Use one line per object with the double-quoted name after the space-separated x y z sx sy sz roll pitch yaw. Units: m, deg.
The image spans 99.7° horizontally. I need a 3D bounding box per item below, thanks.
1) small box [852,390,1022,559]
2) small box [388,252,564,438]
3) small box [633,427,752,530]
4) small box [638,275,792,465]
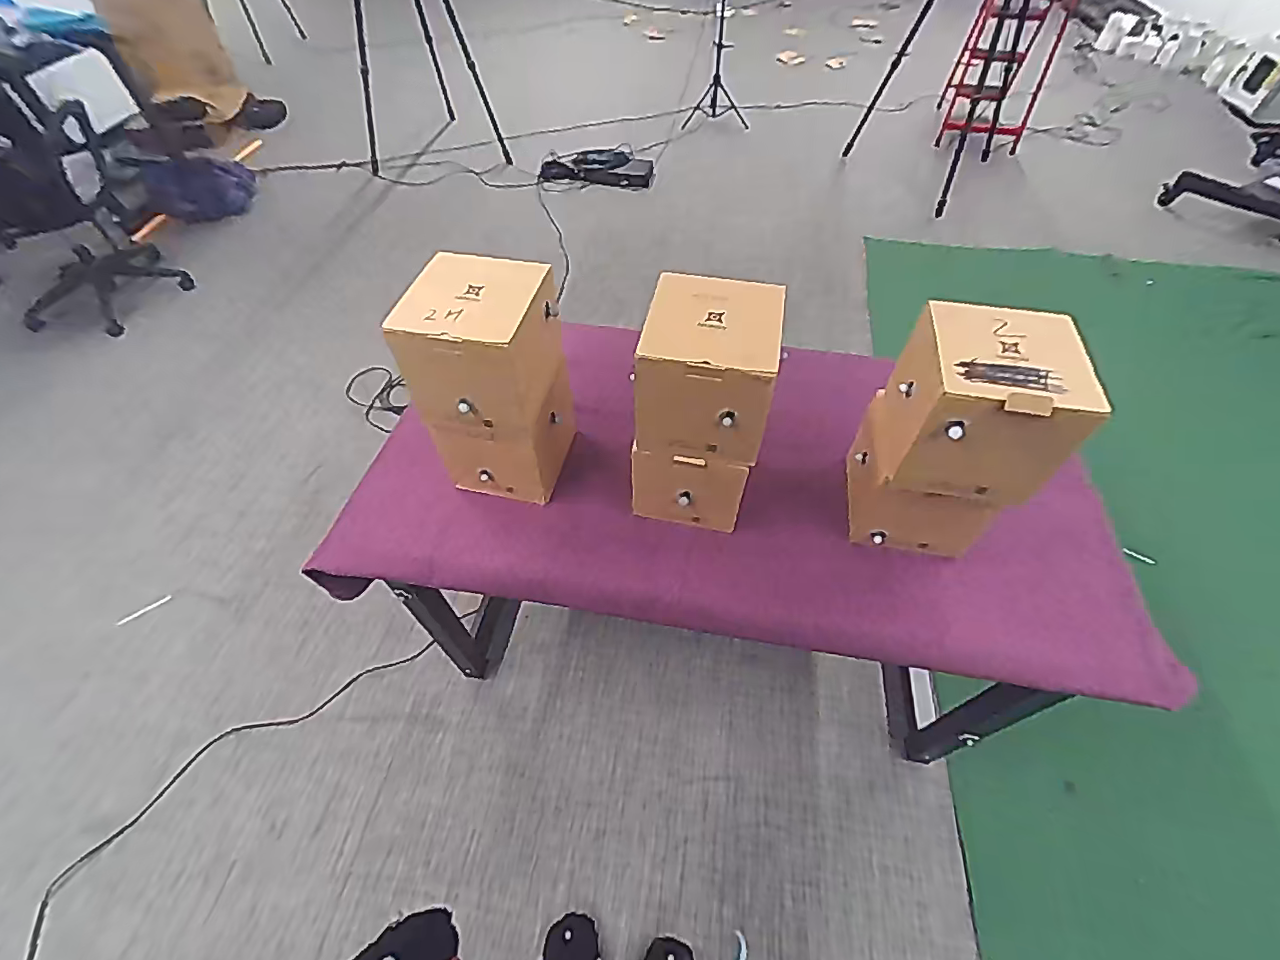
0.429 -0.004 0.811 0.168 0.176 0.179 12 54 7 "small box"
-0.209 -0.186 0.752 0.168 0.176 0.179 9 54 7 "small box"
0.091 -0.043 0.847 0.168 0.176 0.179 11 54 8 "small box"
0.097 -0.142 0.717 0.168 0.176 0.179 10 53 8 "small box"
